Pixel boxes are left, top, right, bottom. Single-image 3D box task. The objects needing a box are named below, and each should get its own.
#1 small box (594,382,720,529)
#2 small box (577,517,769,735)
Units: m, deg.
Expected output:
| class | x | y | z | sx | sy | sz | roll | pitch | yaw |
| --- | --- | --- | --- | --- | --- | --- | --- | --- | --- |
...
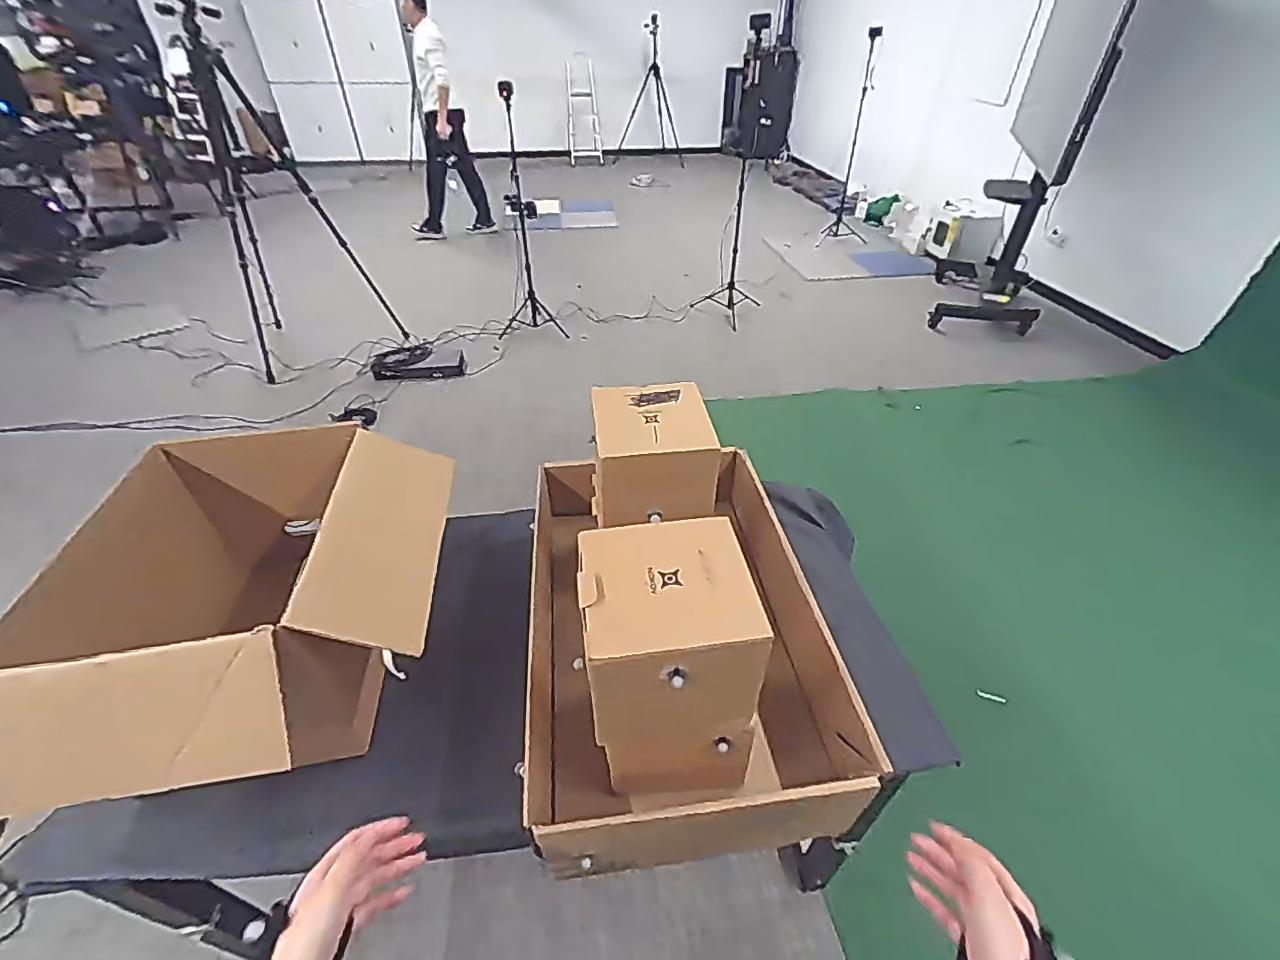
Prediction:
| class | x | y | z | sx | sy | sz | roll | pitch | yaw |
| --- | --- | --- | --- | --- | --- | --- | --- | --- | --- |
| small box | 0.016 | -0.031 | 0.827 | 0.168 | 0.176 | 0.179 | -5 | 42 | -5 |
| small box | 0.026 | 0.164 | 0.607 | 0.179 | 0.176 | 0.168 | -5 | 41 | -7 |
